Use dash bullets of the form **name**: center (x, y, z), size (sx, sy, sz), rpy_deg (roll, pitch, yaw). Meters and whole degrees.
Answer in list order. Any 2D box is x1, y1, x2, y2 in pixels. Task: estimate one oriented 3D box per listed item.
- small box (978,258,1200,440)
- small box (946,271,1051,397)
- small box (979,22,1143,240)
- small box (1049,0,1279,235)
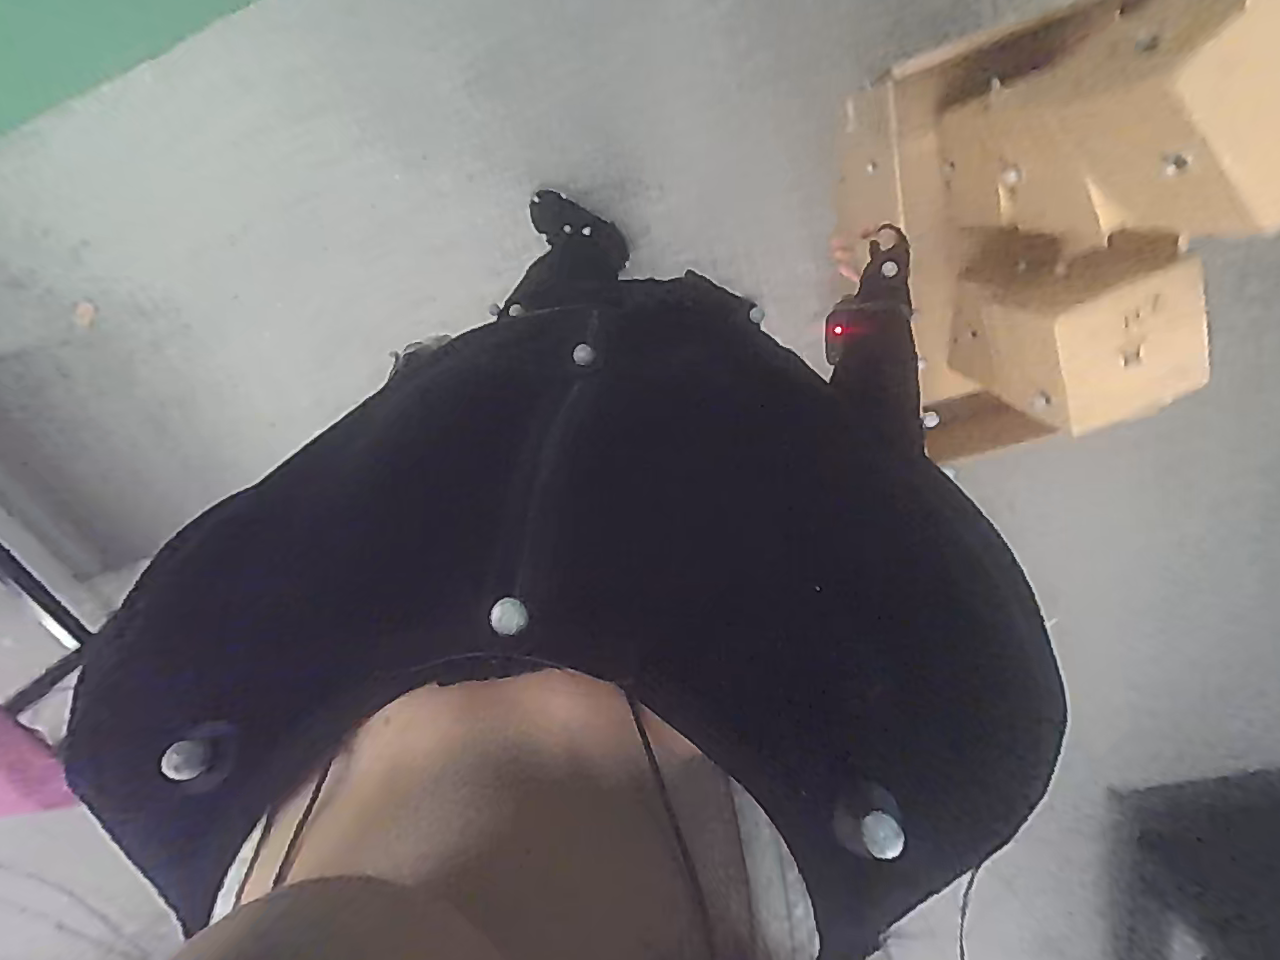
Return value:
- **small box**: center (0.607, -0.187, 0.747), size (0.168, 0.176, 0.179), rpy_deg (-23, 112, 11)
- **small box**: center (0.640, -0.247, 0.901), size (0.179, 0.176, 0.168), rpy_deg (-6, 115, 5)
- **small box**: center (0.551, -0.411, 0.639), size (0.179, 0.176, 0.168), rpy_deg (-31, 110, 16)
- **small box**: center (0.531, -0.348, 0.489), size (0.179, 0.176, 0.168), rpy_deg (39, 112, -16)
